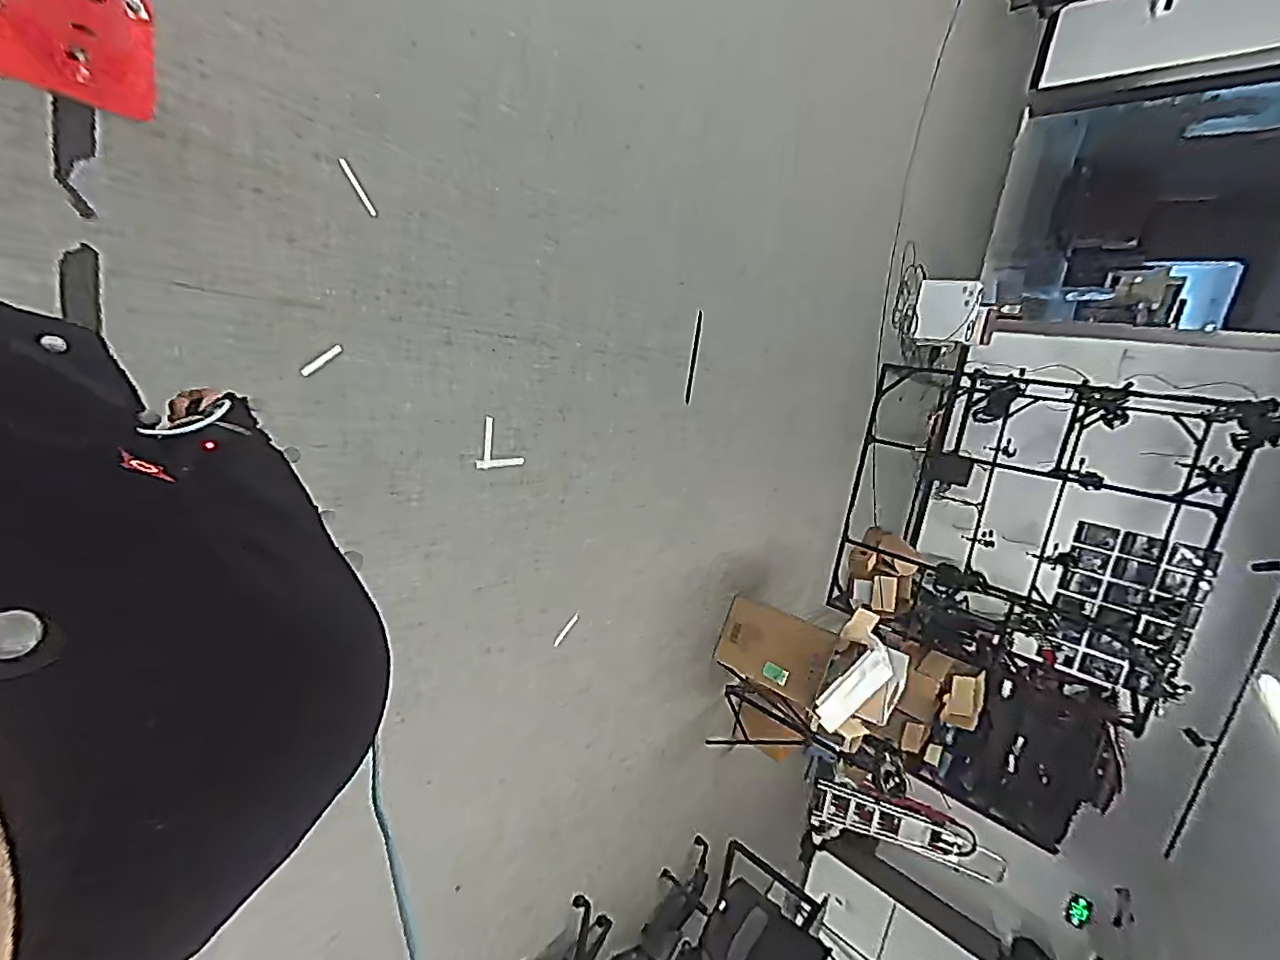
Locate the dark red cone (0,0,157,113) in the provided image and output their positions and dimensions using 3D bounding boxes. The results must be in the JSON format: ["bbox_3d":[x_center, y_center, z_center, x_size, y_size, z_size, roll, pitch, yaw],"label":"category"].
[{"bbox_3d":[-0.763,-0.665,0.735,0.201,0.394,0.202,-5,109,-49],"label":"dark red cone"}]
